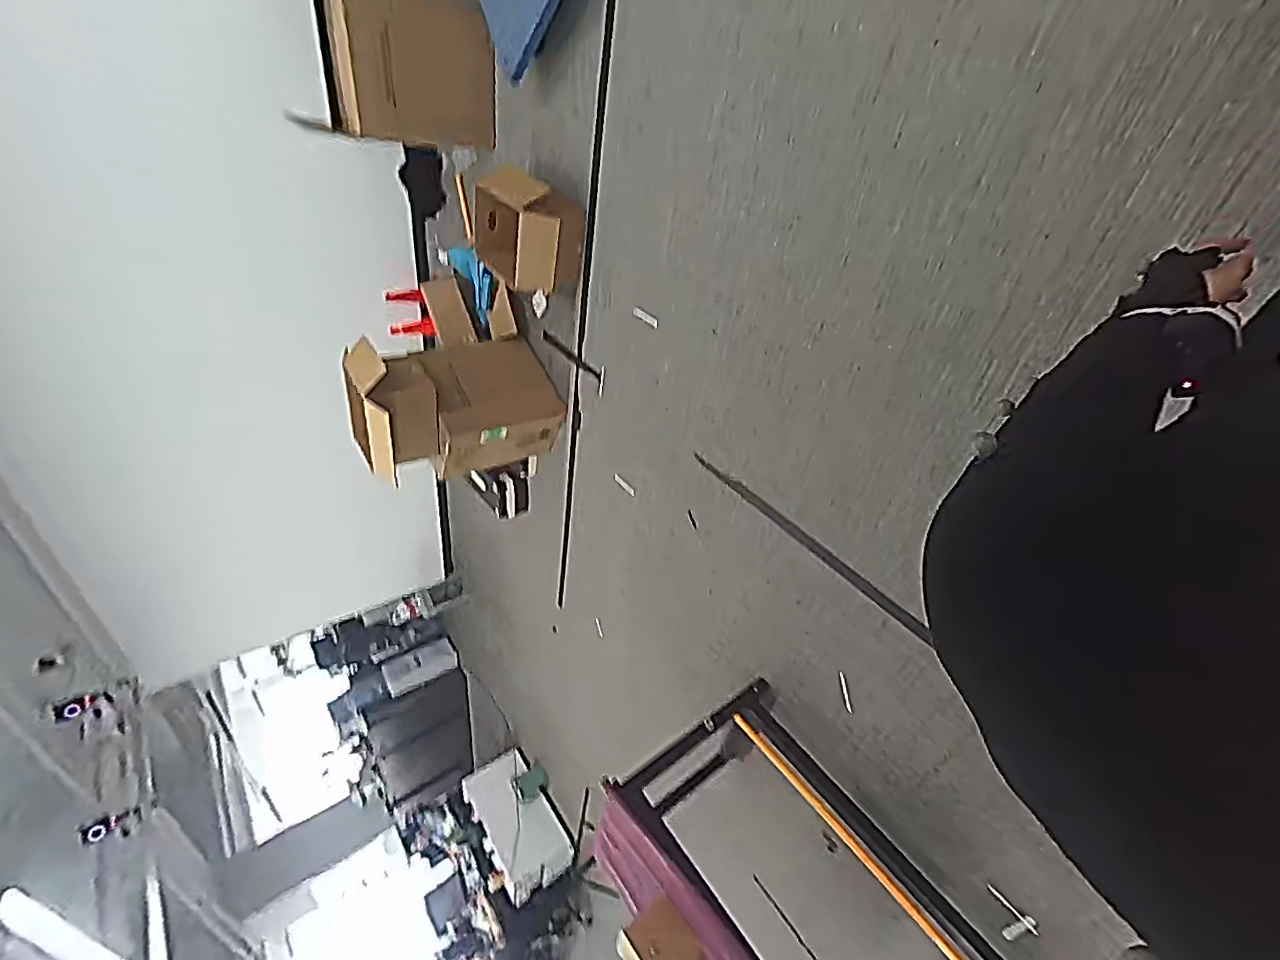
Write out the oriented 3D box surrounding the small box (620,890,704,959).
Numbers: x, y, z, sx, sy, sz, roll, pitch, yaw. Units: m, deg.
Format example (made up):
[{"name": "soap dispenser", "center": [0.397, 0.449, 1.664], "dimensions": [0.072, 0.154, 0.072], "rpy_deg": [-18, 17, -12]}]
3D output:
[{"name": "small box", "center": [0.064, 1.384, 1.625], "dimensions": [0.179, 0.176, 0.168], "rpy_deg": [39, 135, 37]}]
